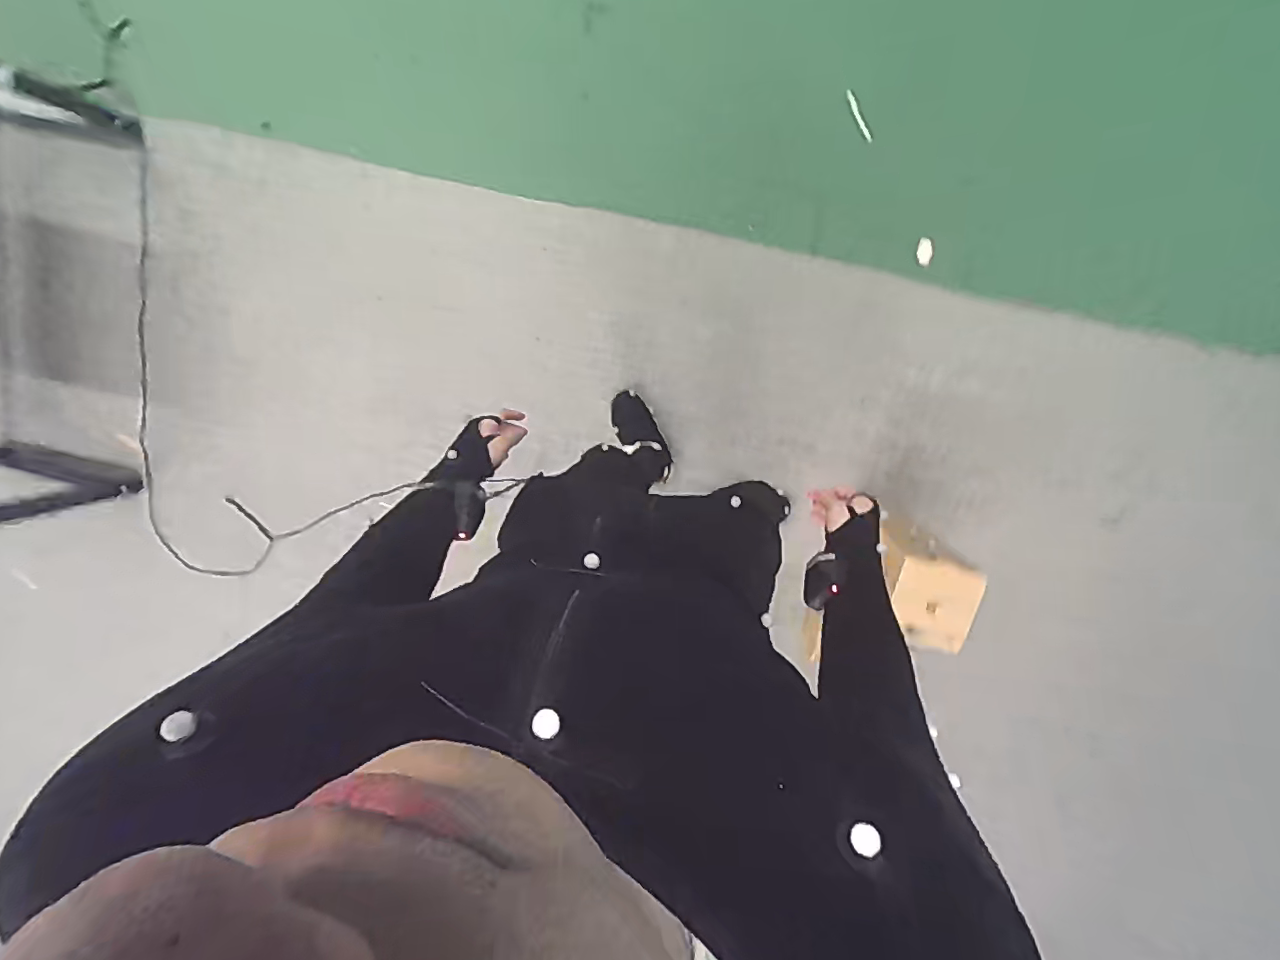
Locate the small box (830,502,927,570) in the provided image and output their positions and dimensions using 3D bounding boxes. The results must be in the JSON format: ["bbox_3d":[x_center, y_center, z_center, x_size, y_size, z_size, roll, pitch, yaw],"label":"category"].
[{"bbox_3d":[0.638,0.171,1.474,0.179,0.176,0.168,17,104,5],"label":"small box"}]

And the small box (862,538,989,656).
[{"bbox_3d":[0.597,0.240,1.158,0.168,0.176,0.179,15,102,5],"label":"small box"}]

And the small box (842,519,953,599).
[{"bbox_3d":[0.614,0.205,1.318,0.179,0.176,0.168,14,103,5],"label":"small box"}]

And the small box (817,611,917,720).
[{"bbox_3d":[0.565,0.465,1.376,0.168,0.176,0.179,18,103,4],"label":"small box"}]
